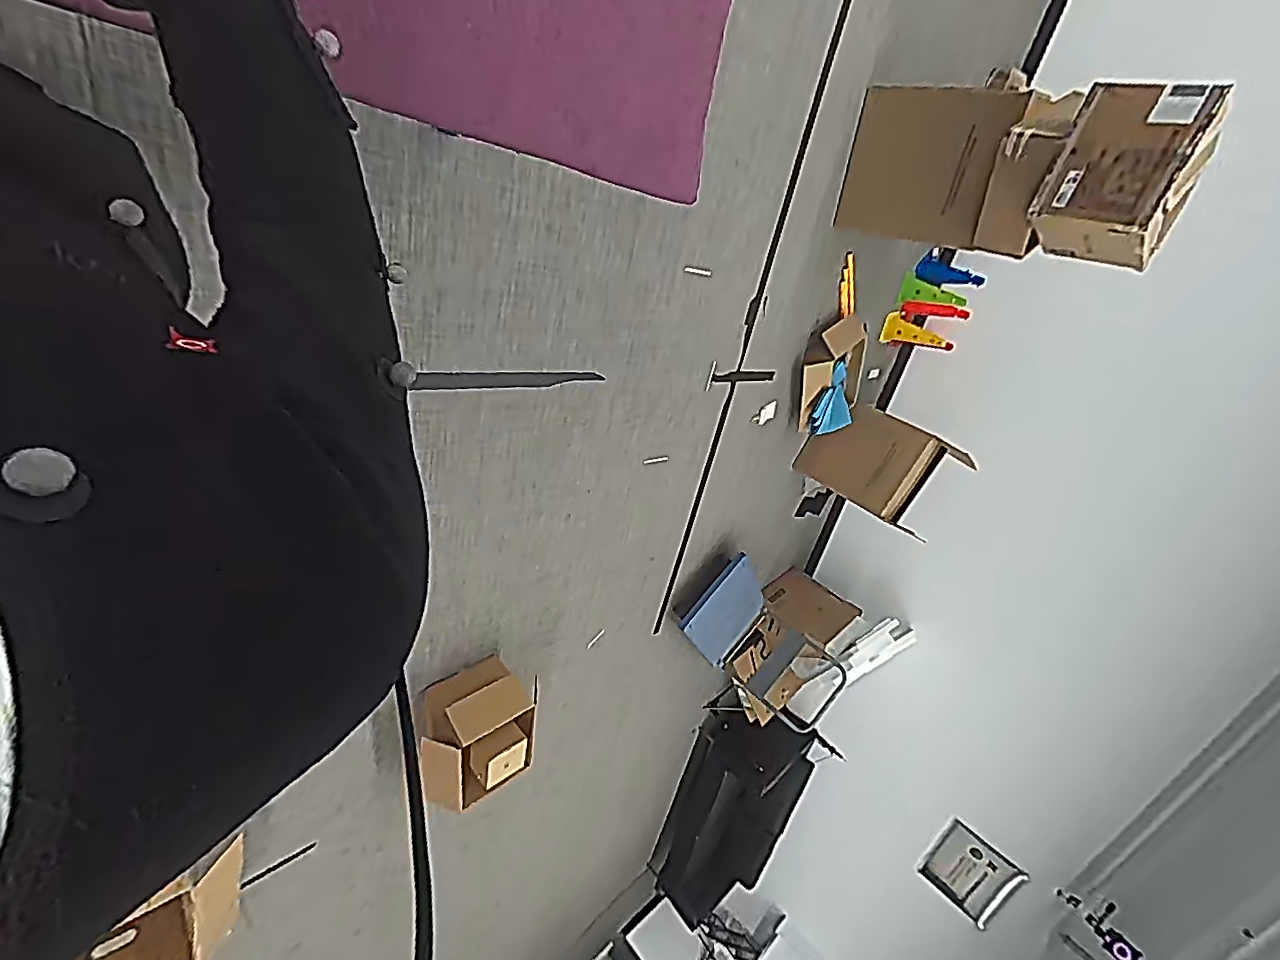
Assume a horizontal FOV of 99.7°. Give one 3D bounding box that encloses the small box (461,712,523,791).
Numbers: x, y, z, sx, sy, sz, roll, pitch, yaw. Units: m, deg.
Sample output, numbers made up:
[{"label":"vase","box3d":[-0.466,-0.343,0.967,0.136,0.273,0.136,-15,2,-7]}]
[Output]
[{"label":"small box","box3d":[-0.574,1.040,2.084,0.168,0.176,0.179,-16,128,-43]}]
